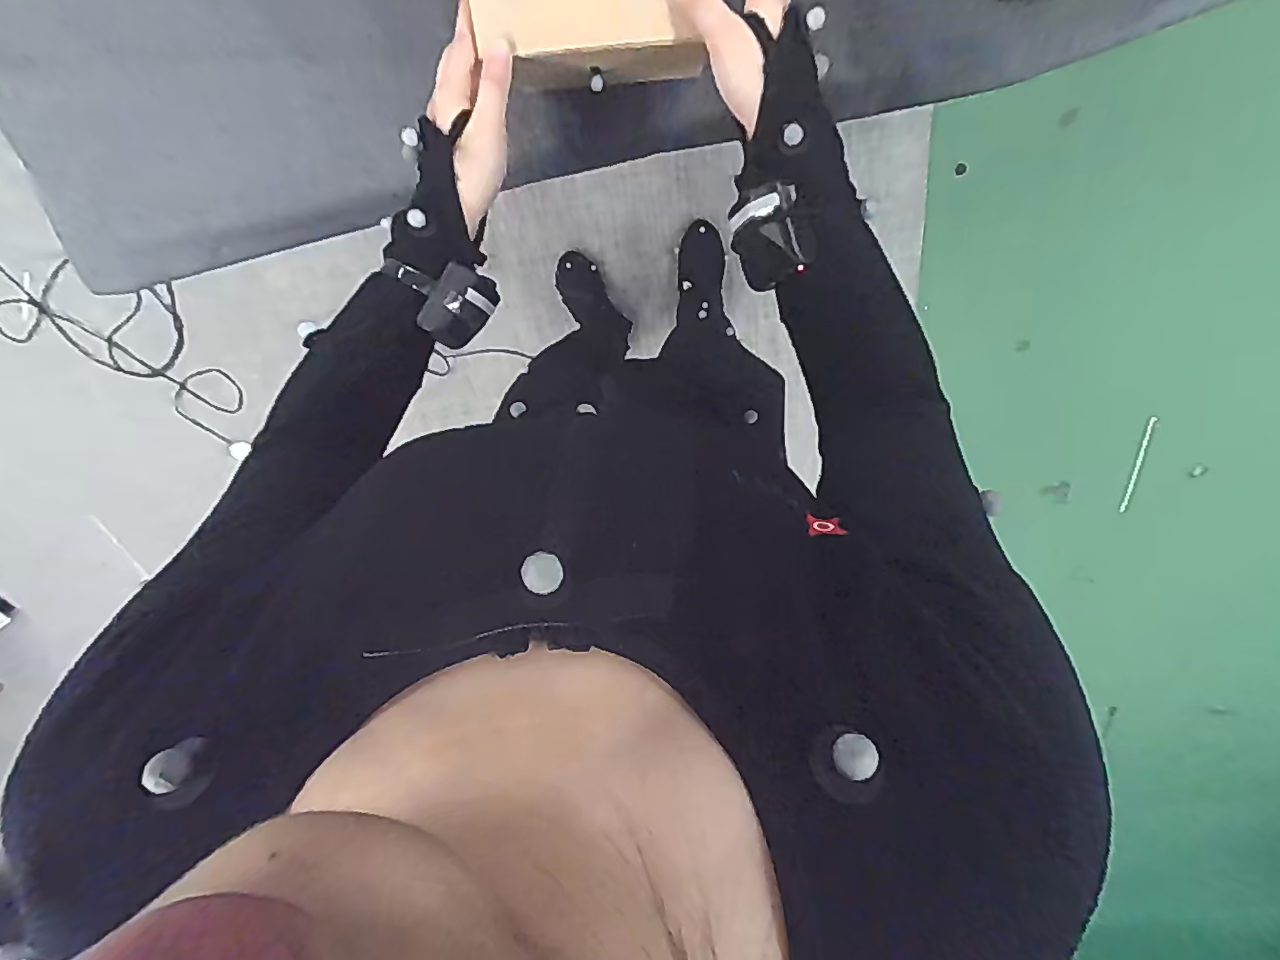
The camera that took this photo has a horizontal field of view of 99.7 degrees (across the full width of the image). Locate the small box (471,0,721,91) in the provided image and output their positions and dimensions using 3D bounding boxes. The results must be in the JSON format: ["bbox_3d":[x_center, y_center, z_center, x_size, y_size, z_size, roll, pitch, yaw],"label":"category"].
[{"bbox_3d":[-0.032,-0.415,0.419,0.179,0.176,0.168,-2,120,4],"label":"small box"}]
